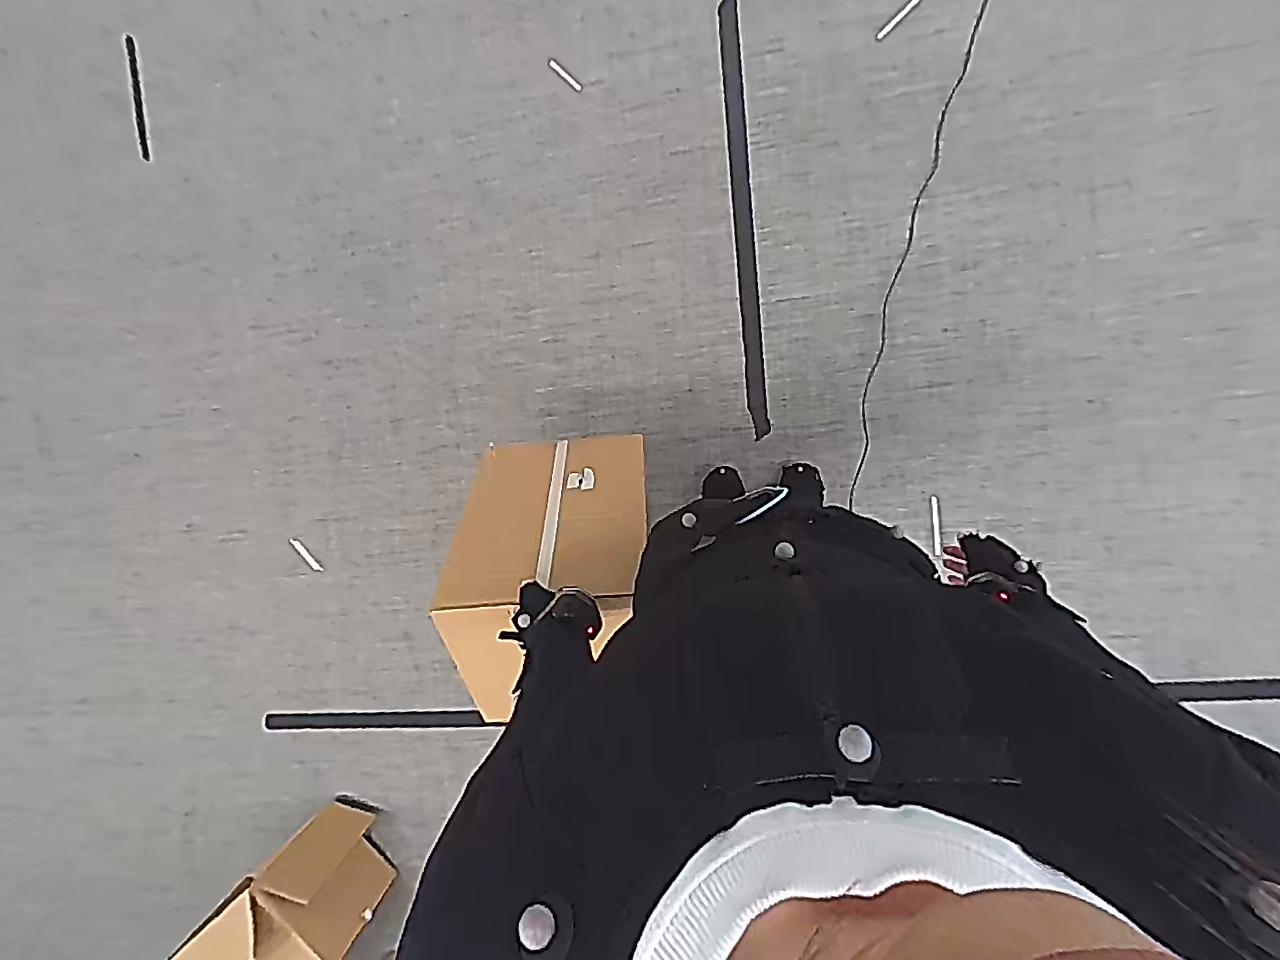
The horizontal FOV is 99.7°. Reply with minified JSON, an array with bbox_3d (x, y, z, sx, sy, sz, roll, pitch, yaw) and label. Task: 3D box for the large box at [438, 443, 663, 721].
[{"bbox_3d":[-0.132,0.178,1.016,0.320,0.408,0.320,-5,127,3],"label":"large box"}]
